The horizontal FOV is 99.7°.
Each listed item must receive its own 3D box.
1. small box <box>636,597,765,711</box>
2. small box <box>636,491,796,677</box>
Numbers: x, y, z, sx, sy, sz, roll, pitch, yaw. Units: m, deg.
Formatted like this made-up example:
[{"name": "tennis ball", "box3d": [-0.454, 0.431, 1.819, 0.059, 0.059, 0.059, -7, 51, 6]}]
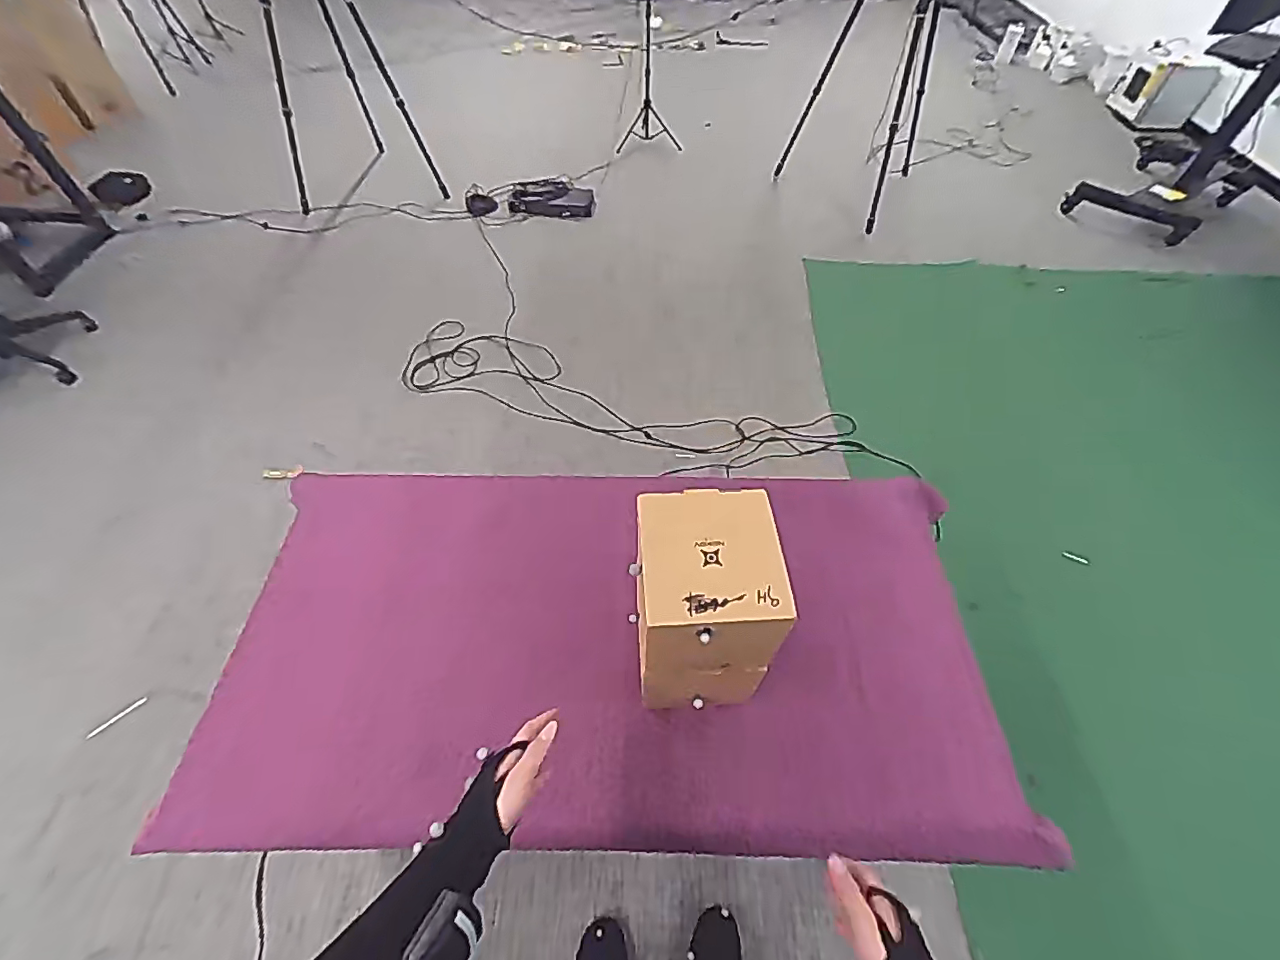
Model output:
[{"name": "small box", "box3d": [0.079, 0.234, 0.818, 0.168, 0.176, 0.179, -2, 53, -1]}, {"name": "small box", "box3d": [0.081, 0.133, 0.687, 0.168, 0.176, 0.179, -2, 52, -2]}]
